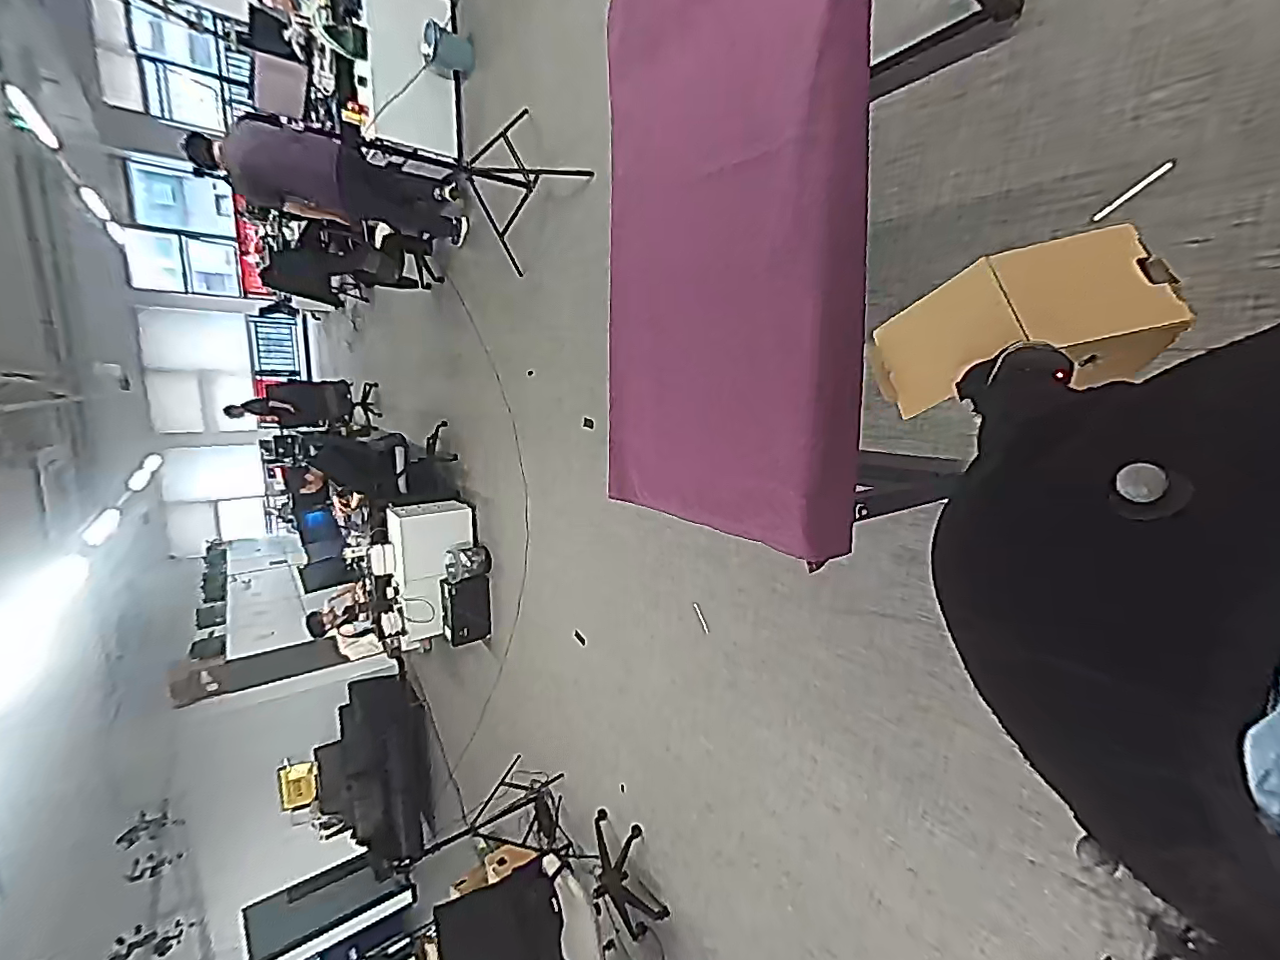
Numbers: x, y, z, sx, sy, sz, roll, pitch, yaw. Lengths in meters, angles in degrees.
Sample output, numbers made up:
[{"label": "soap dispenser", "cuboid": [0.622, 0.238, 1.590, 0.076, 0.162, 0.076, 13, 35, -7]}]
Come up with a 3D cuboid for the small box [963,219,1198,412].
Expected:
[{"label": "small box", "cuboid": [0.568, -0.212, 0.736, 0.176, 0.179, 0.168, 59, -157, -63]}]
